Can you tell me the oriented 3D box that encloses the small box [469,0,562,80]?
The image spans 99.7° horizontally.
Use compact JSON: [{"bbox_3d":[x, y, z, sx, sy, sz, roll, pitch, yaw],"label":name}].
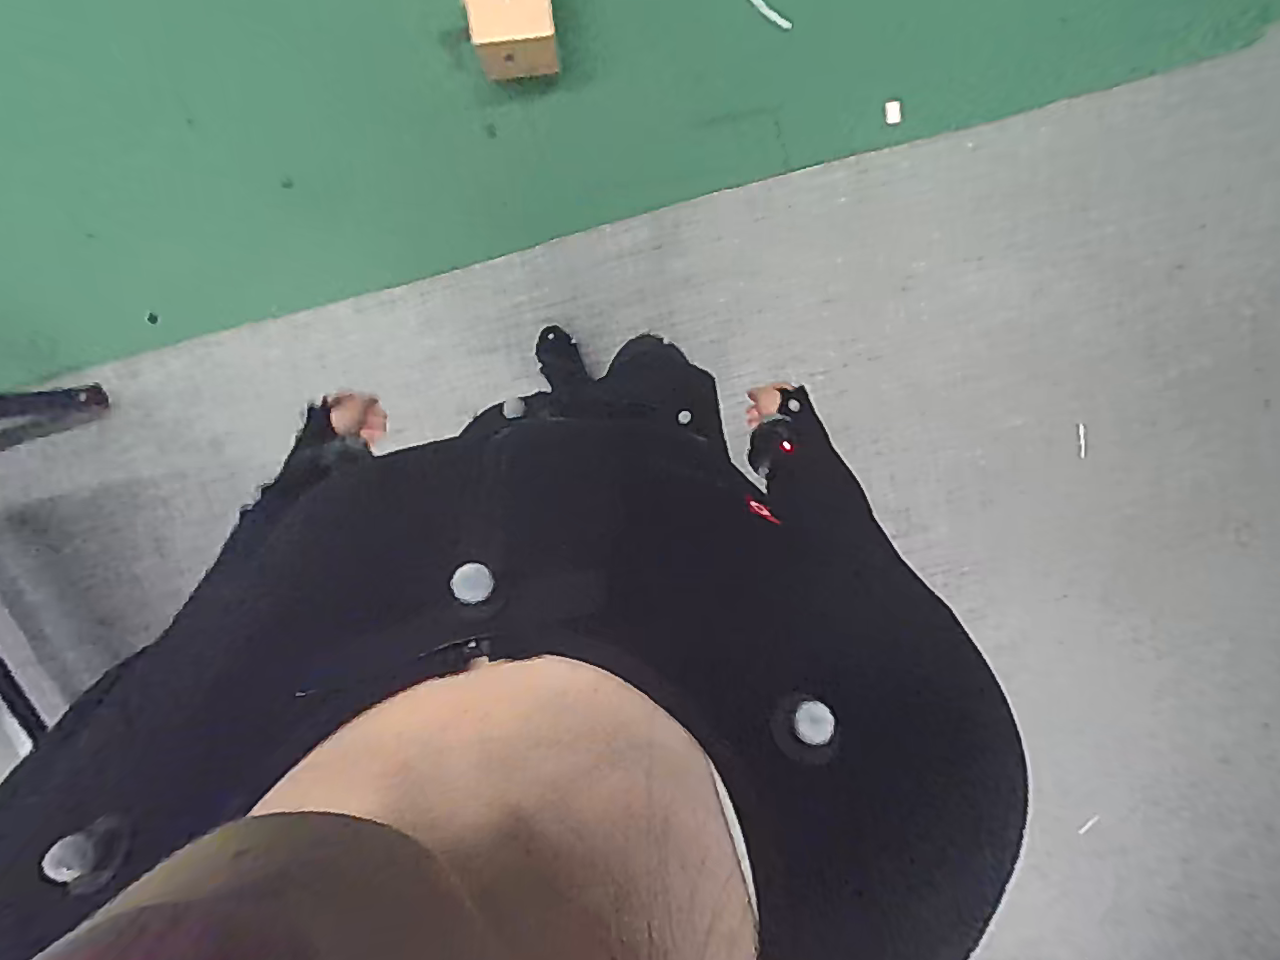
[{"bbox_3d":[-0.263,-0.986,1.151,0.168,0.176,0.179,-8,104,-2],"label":"small box"}]
